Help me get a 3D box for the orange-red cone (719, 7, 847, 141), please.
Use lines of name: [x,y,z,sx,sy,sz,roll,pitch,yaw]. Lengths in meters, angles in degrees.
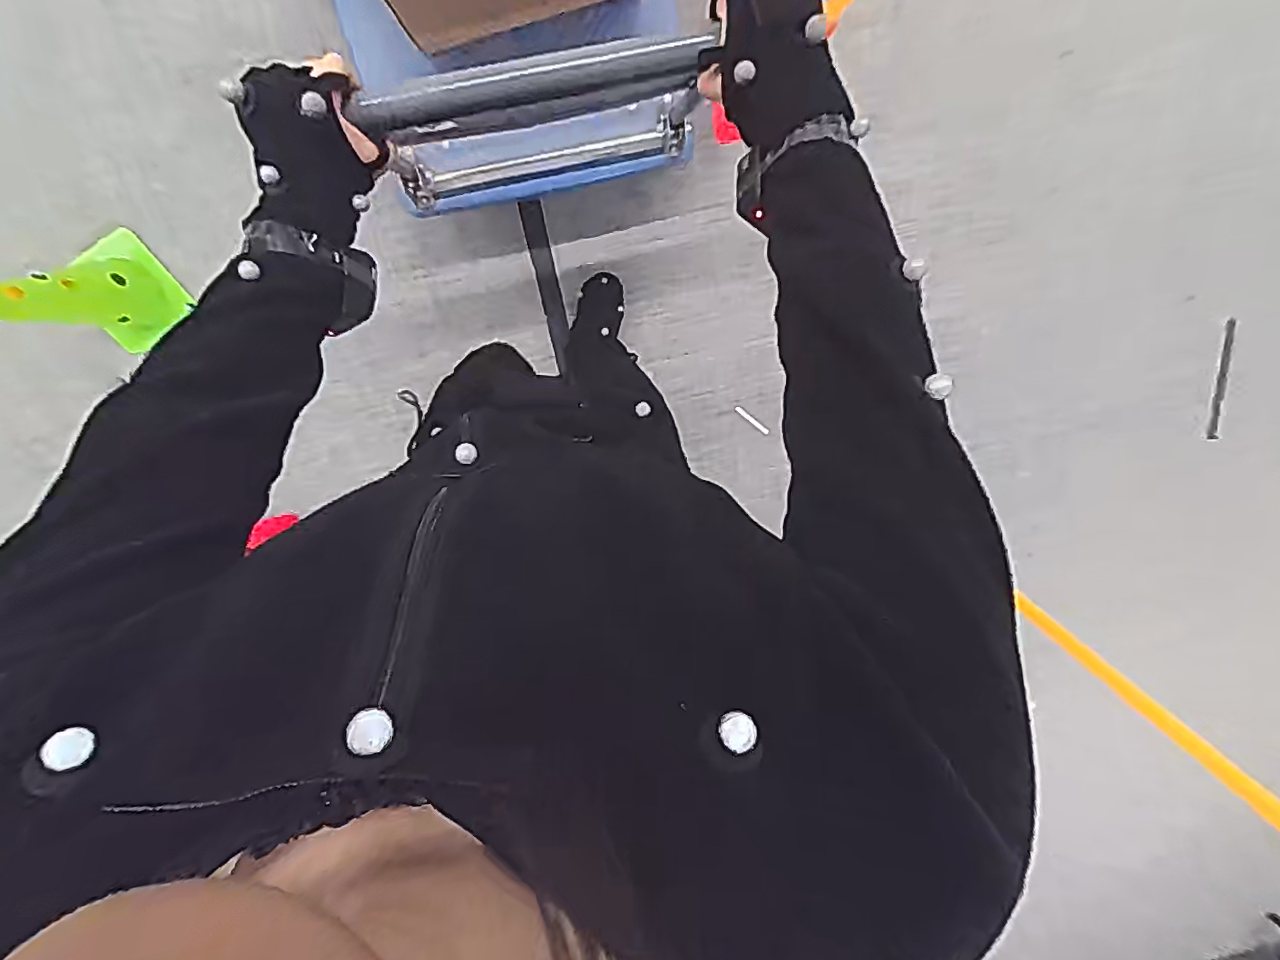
orange-red cone: [0.289,-0.787,1.009,0.199,0.360,0.198,-8,113,-5]
